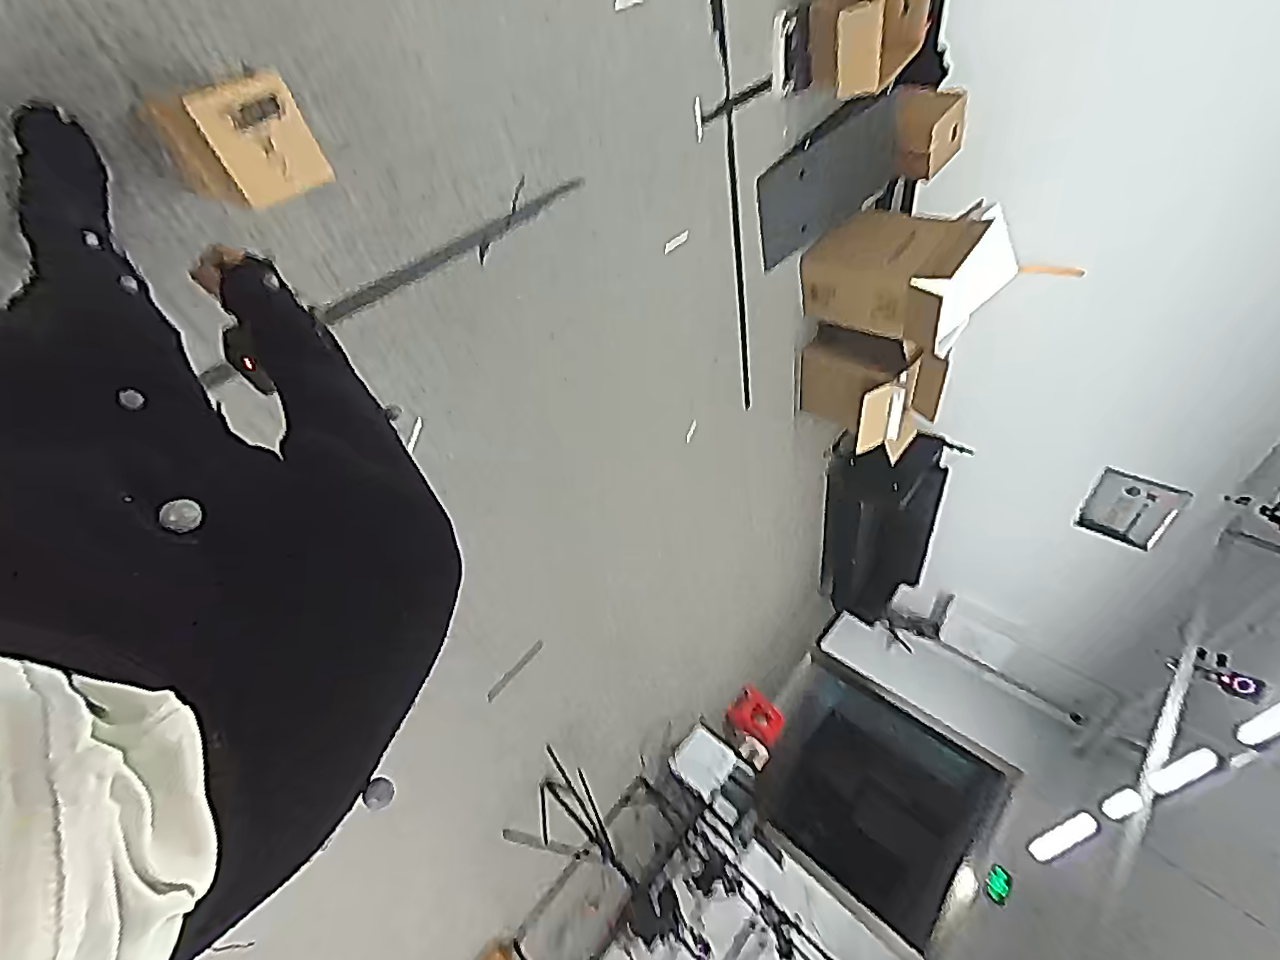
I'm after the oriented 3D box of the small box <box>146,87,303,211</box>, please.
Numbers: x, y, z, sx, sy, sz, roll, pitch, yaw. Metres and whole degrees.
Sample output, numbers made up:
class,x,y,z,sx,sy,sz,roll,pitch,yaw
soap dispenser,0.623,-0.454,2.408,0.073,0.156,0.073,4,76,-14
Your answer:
class,x,y,z,sx,sy,sz,roll,pitch,yaw
small box,-0.843,-0.676,1.099,0.179,0.176,0.168,-44,141,-23
